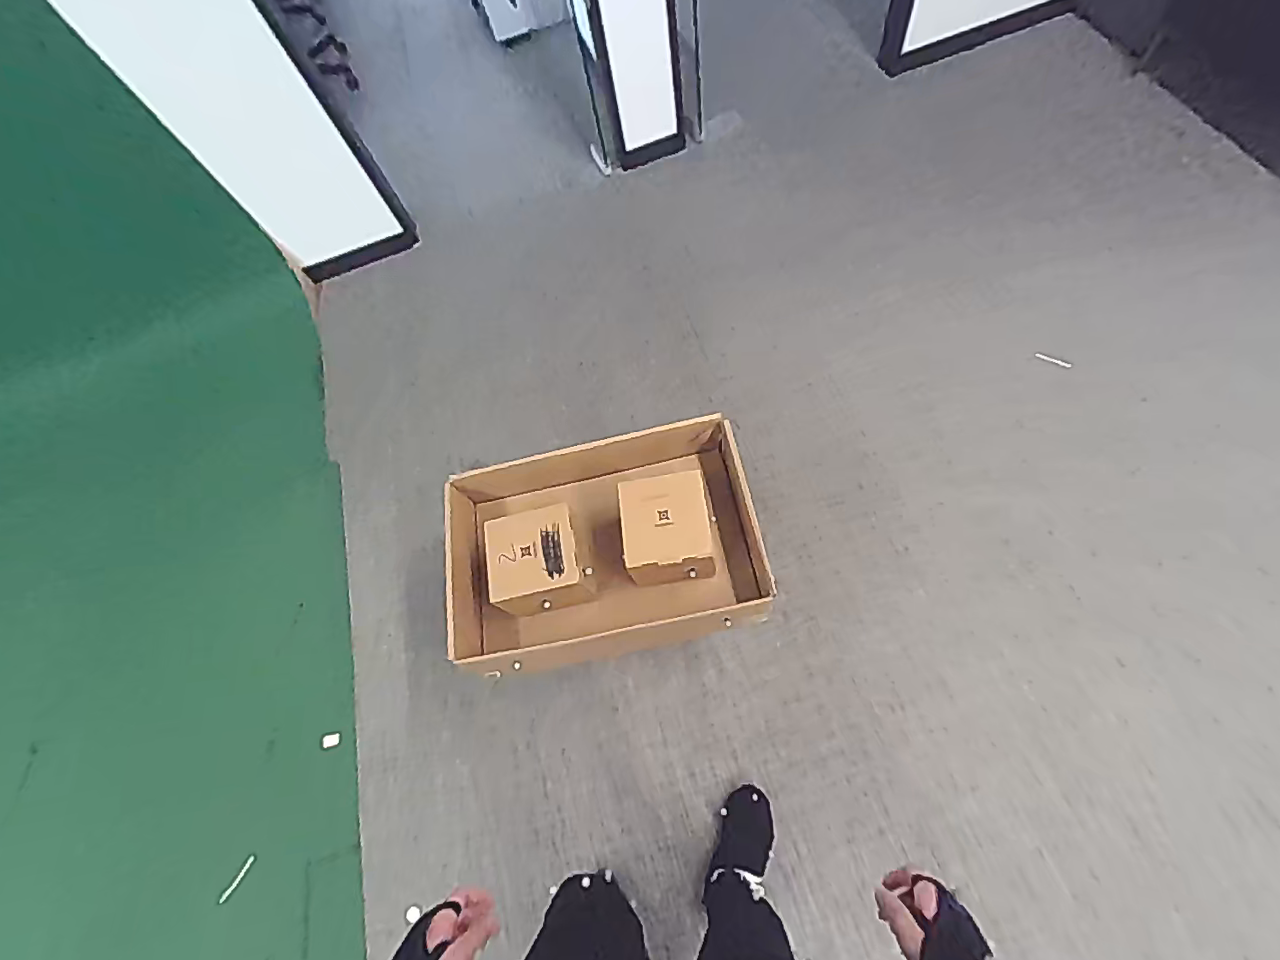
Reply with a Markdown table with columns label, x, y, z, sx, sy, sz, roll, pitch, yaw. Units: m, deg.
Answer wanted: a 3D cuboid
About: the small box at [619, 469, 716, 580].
| label | x | y | z | sx | sy | sz | roll | pitch | yaw |
| --- | --- | --- | --- | --- | --- | --- | --- | --- | --- |
| small box | 0.059 | 0.098 | 1.092 | 0.168 | 0.176 | 0.179 | -9 | 66 | 6 |
